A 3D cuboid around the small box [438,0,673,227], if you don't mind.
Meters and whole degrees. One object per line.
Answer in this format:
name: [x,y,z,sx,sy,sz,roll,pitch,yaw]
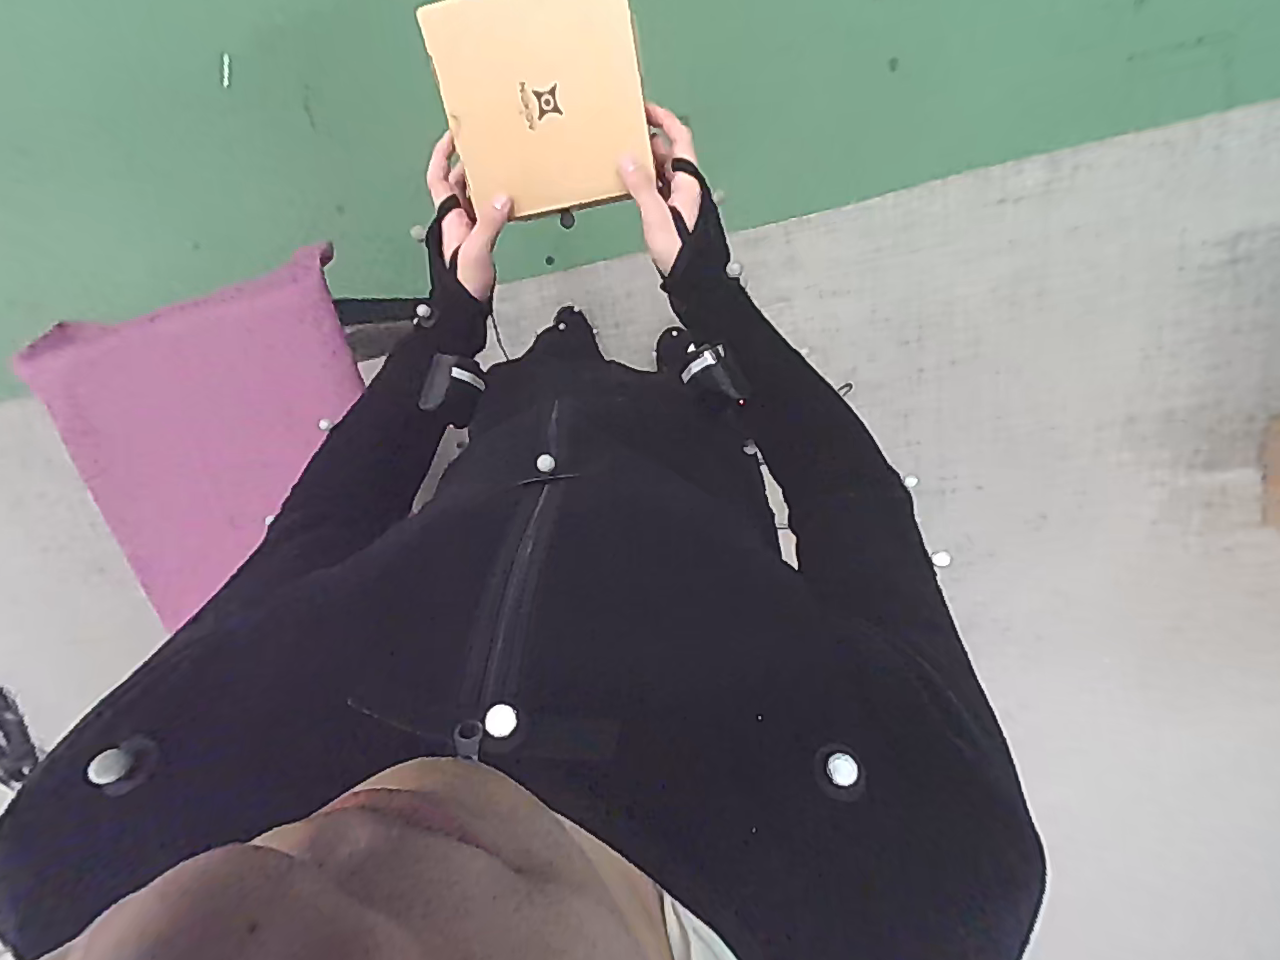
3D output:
small box: [-0.064,-0.359,0.536,0.179,0.176,0.168,-7,117,8]
